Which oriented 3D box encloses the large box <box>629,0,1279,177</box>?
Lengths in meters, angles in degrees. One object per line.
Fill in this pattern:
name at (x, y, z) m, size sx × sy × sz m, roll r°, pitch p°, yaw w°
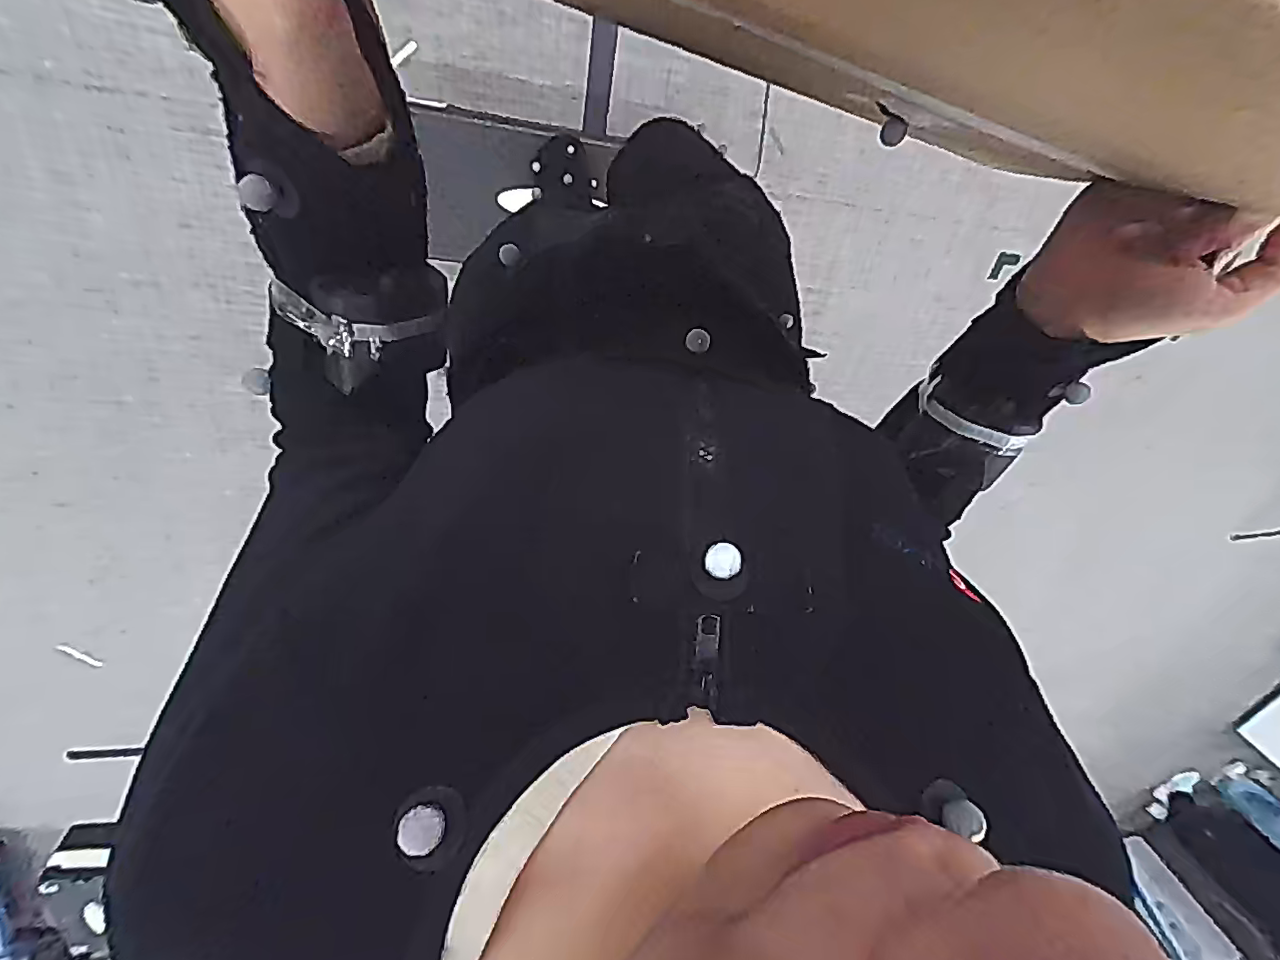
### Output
large box at (0.116, -0.302, 0.124) m, size 0.408 × 0.320 × 0.320 m, roll 8°, pitch 124°, yaw -14°
